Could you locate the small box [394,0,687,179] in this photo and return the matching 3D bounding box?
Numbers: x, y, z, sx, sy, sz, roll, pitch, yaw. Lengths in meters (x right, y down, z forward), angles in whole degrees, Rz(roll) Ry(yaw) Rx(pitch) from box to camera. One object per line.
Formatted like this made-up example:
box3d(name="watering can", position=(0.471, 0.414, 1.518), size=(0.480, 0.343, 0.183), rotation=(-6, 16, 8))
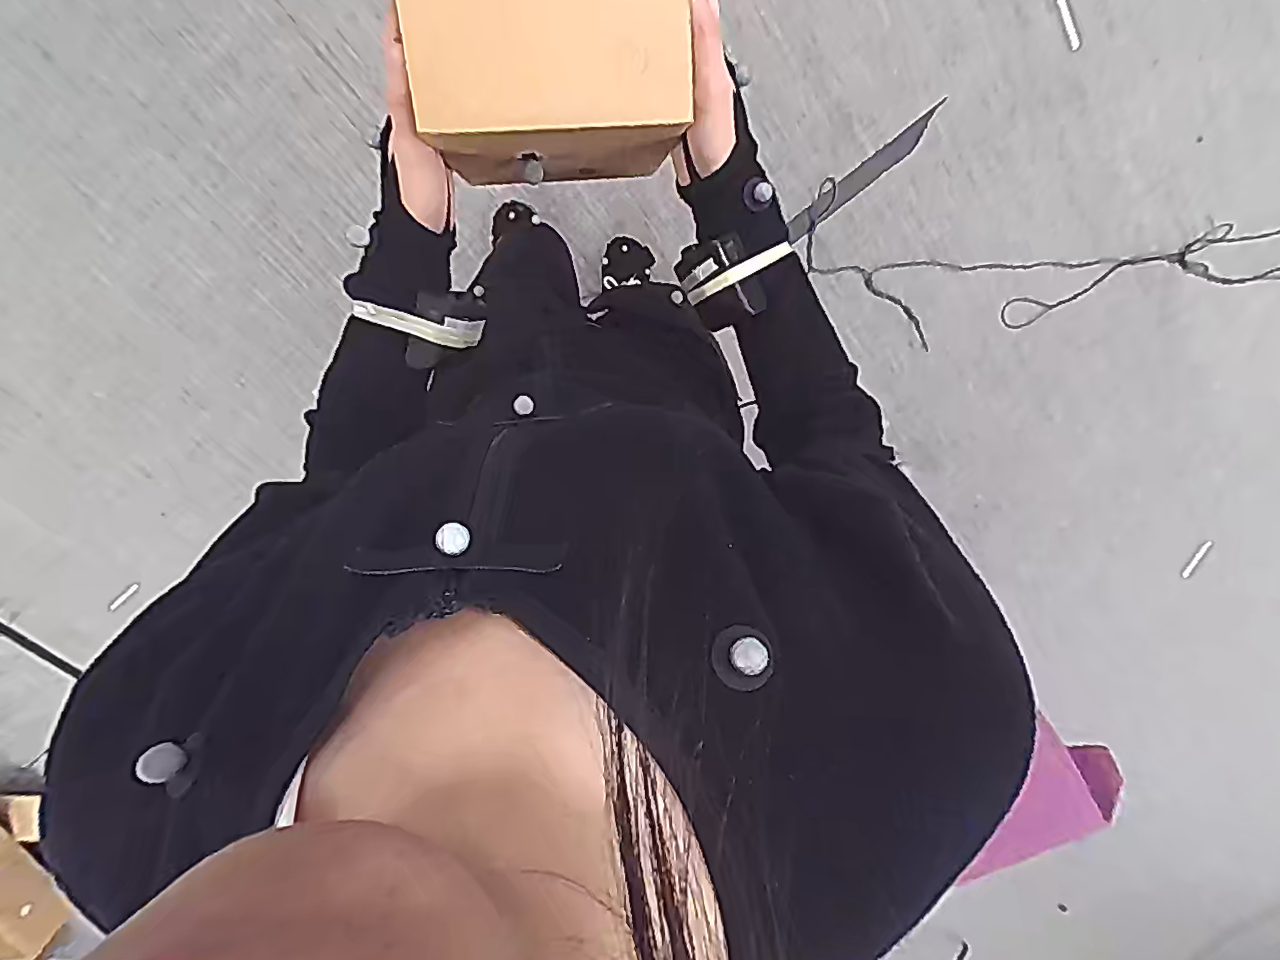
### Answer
box3d(name="small box", position=(-0.064, -0.318, 0.370), size=(0.168, 0.176, 0.179), rotation=(-6, 108, -5))
